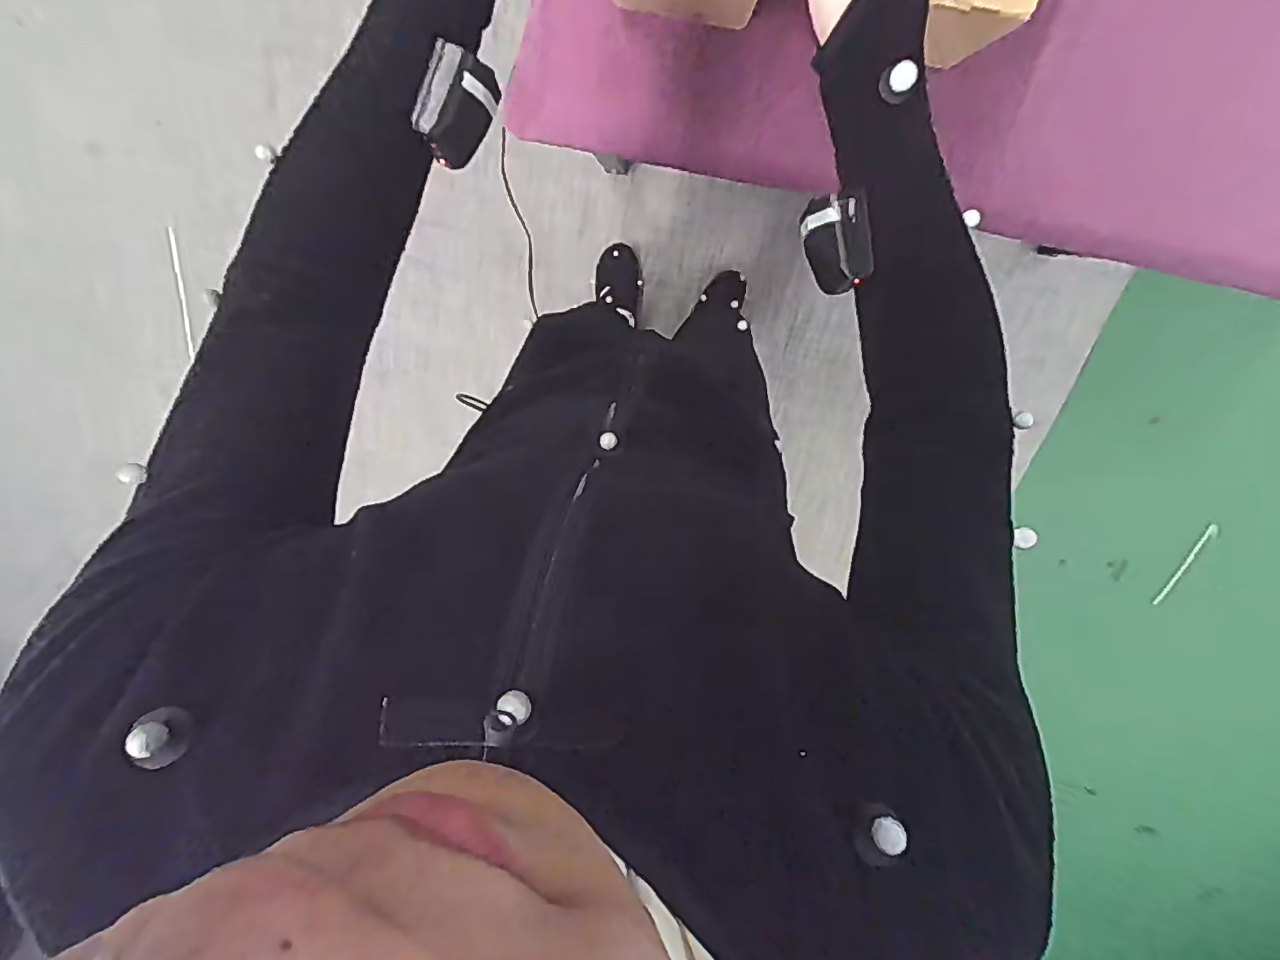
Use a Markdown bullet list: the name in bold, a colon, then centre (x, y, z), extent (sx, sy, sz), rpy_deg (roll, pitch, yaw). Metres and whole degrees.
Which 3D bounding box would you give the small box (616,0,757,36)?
- **small box**: centre (0.057, -0.596, 0.543), extent (0.168, 0.176, 0.179), rpy_deg (9, 113, -2)

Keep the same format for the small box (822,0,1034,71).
- **small box**: centre (0.305, -0.561, 0.554), extent (0.168, 0.176, 0.179), rpy_deg (9, 114, -2)
